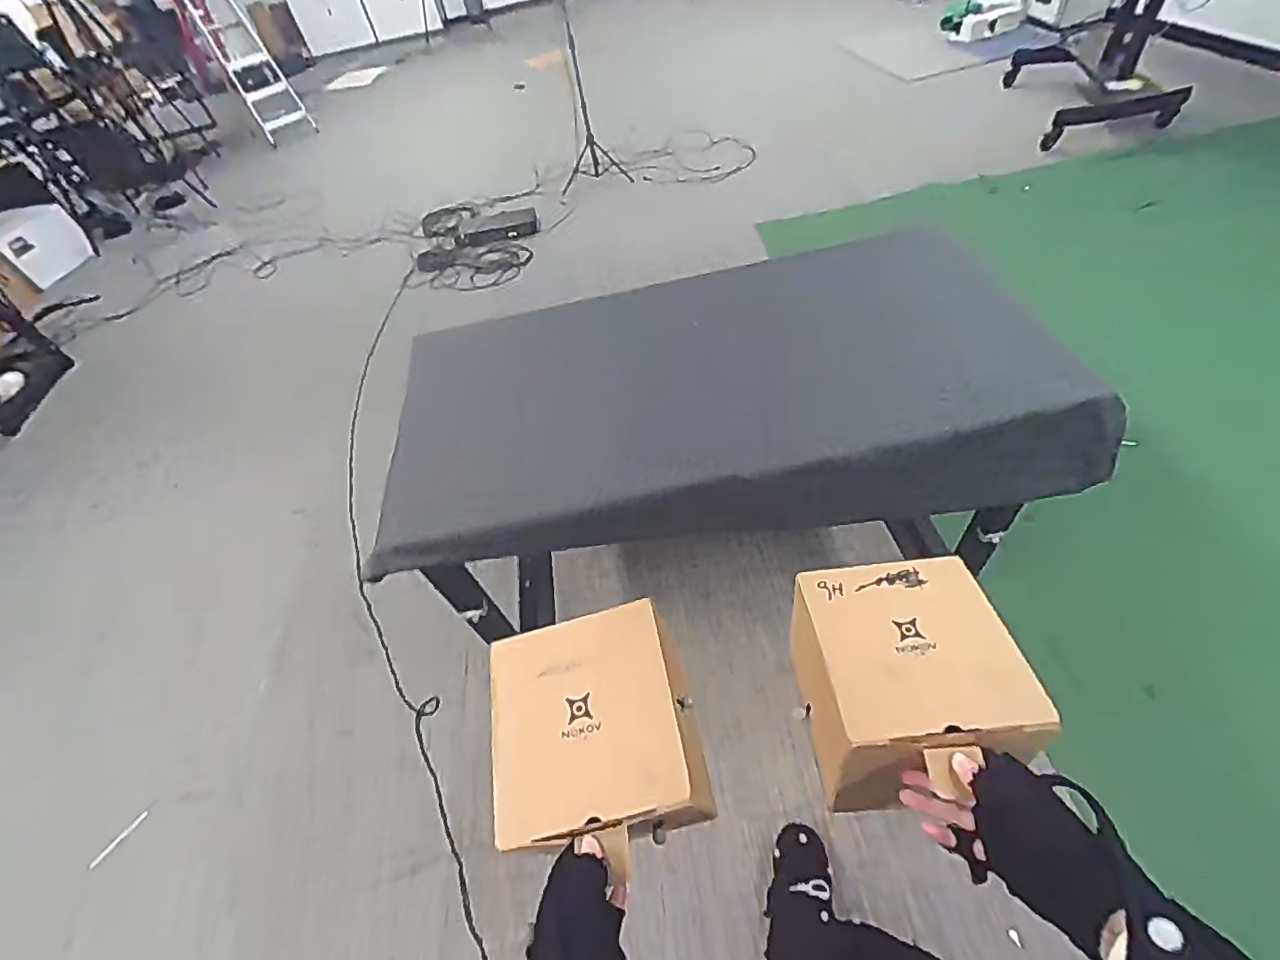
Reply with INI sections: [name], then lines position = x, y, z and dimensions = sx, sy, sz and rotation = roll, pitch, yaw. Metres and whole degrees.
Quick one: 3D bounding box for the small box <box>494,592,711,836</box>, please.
[small box]
position = -0.034, 0.244, 0.551
dimensions = 0.168, 0.176, 0.179
rotation = -17, 52, 4
